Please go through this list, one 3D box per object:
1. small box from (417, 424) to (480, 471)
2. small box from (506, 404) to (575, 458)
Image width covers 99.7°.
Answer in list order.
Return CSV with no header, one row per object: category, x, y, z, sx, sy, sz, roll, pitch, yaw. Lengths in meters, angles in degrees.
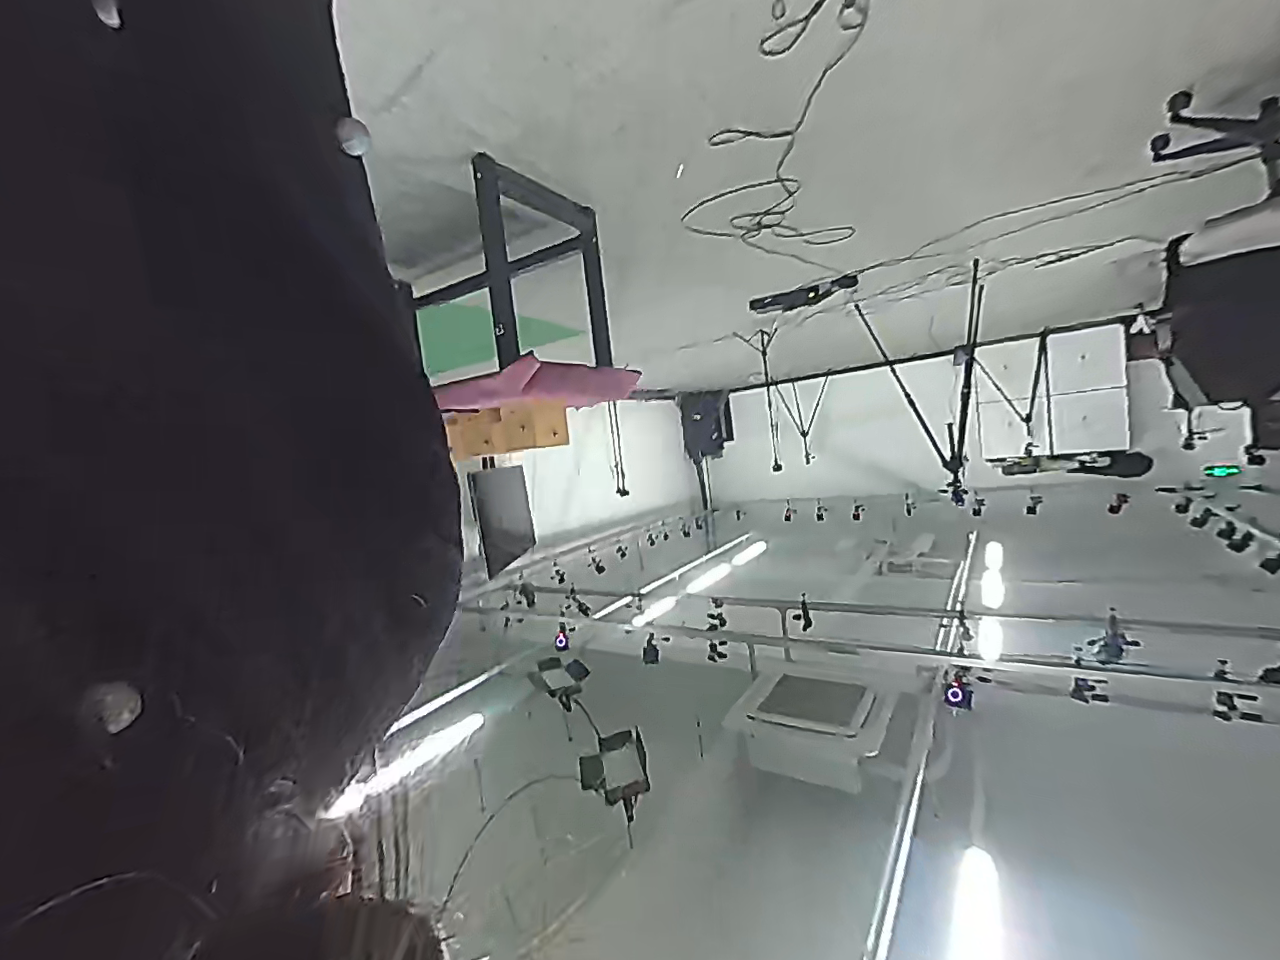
small box,-0.791,-0.136,2.228,0.168,0.176,0.179,-5,-176,28
small box,-0.364,-0.181,1.970,0.168,0.176,0.179,-6,-176,35
